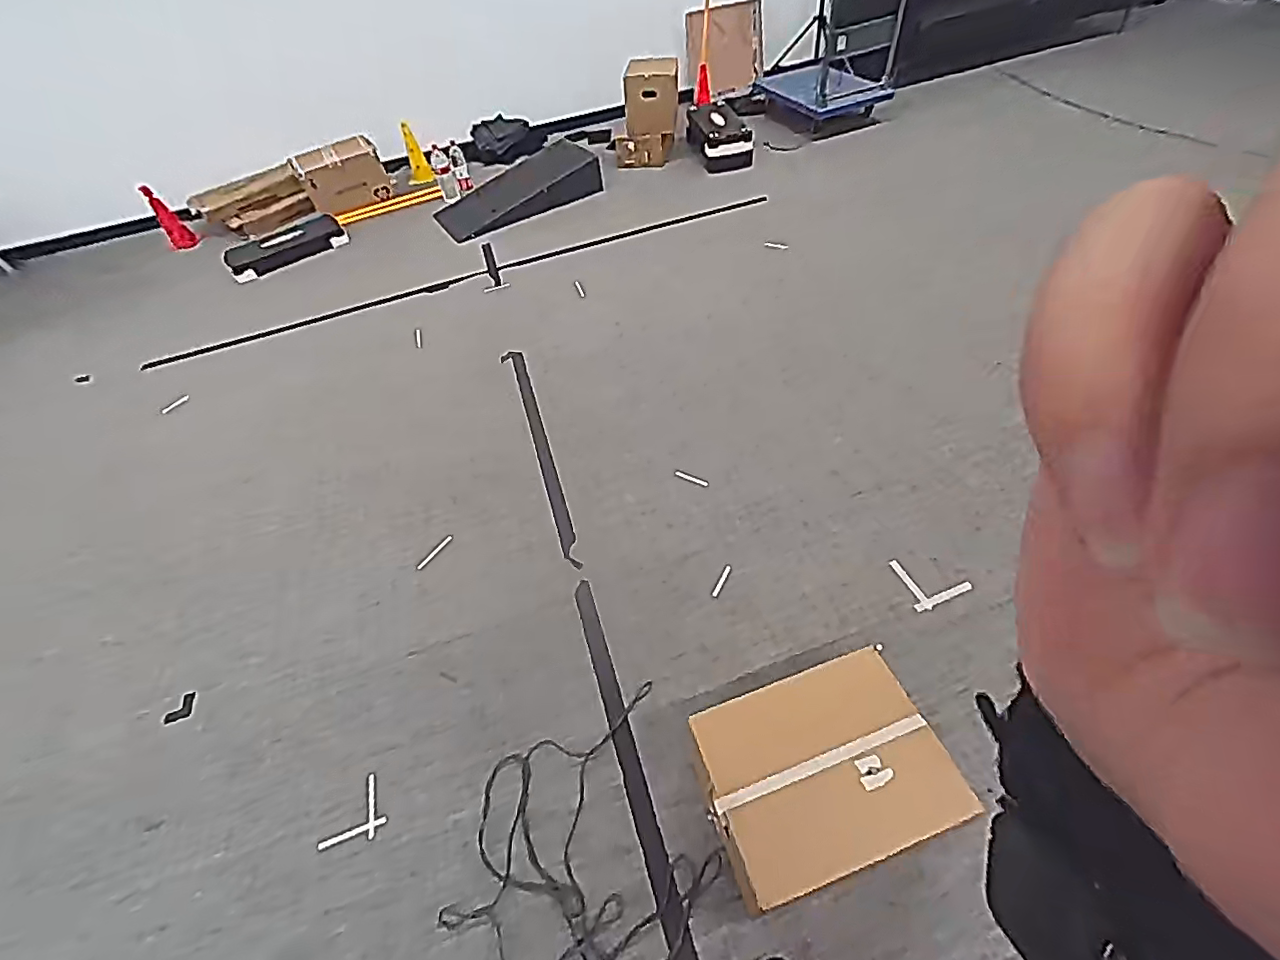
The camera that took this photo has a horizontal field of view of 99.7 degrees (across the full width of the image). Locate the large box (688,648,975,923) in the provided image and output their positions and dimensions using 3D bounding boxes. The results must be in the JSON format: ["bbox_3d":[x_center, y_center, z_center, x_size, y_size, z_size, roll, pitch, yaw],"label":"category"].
[{"bbox_3d":[0.339,0.604,1.073,0.408,0.320,0.320,-18,50,-9],"label":"large box"}]
